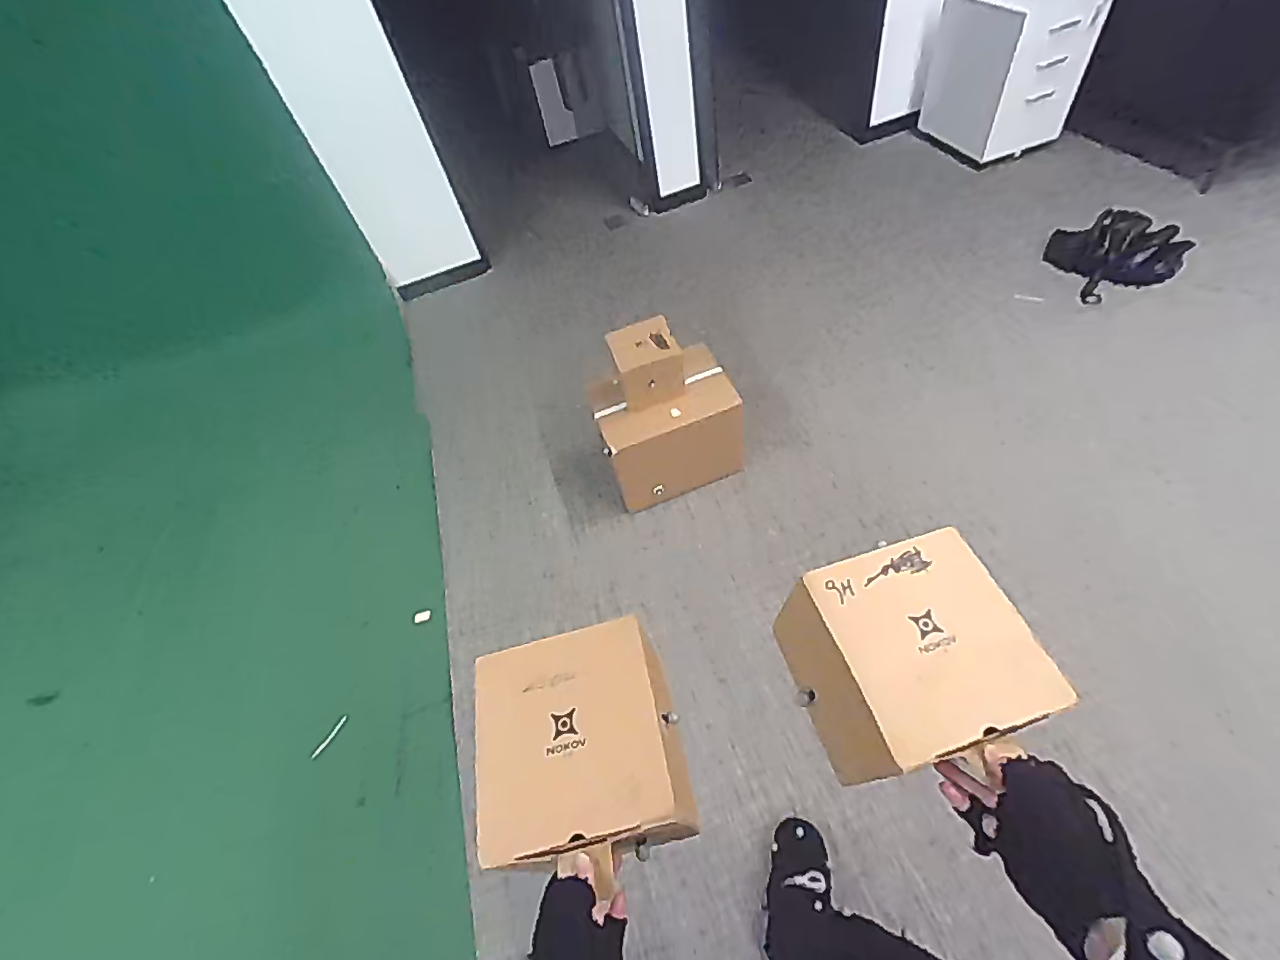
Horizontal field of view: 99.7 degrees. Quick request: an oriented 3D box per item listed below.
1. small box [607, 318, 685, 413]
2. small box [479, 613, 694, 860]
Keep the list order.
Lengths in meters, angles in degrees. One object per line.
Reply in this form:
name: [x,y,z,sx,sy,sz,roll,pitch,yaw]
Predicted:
small box: [0.022,-0.324,1.546,0.179,0.176,0.168,-21,58,-4]
small box: [-0.050,0.265,0.551,0.168,0.176,0.179,-17,51,2]
